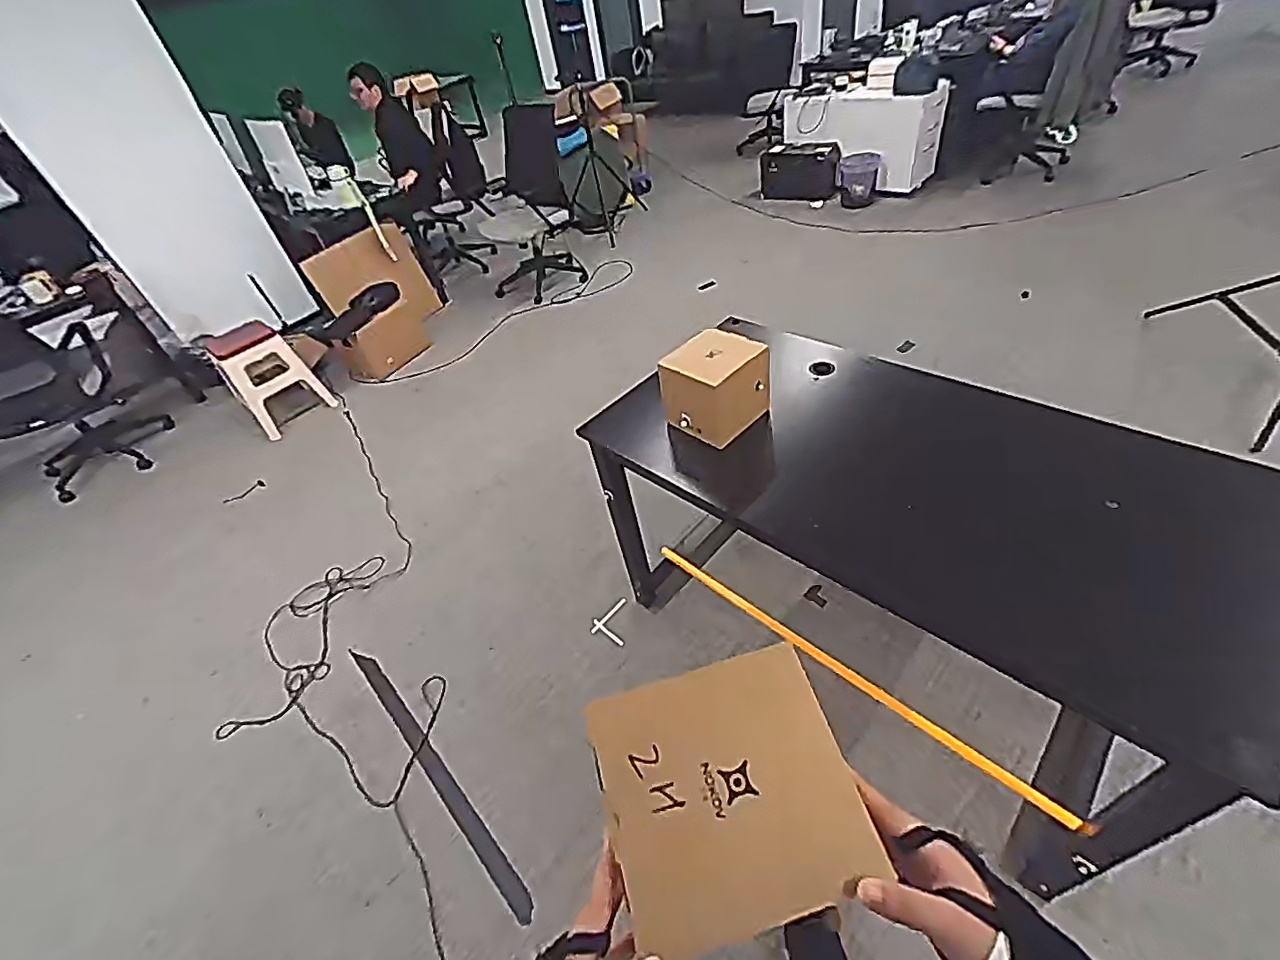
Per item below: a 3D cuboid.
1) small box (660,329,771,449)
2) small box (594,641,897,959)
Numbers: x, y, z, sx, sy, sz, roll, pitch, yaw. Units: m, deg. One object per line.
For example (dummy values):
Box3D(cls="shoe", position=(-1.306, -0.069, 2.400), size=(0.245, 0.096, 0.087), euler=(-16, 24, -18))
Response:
Box3D(cls="small box", position=(0.168, -0.200, 1.181), size=(0.179, 0.176, 0.168), euler=(-40, 49, -25))
Box3D(cls="small box", position=(0.072, 0.261, 0.455), size=(0.179, 0.176, 0.168), euler=(-16, 55, -6))
